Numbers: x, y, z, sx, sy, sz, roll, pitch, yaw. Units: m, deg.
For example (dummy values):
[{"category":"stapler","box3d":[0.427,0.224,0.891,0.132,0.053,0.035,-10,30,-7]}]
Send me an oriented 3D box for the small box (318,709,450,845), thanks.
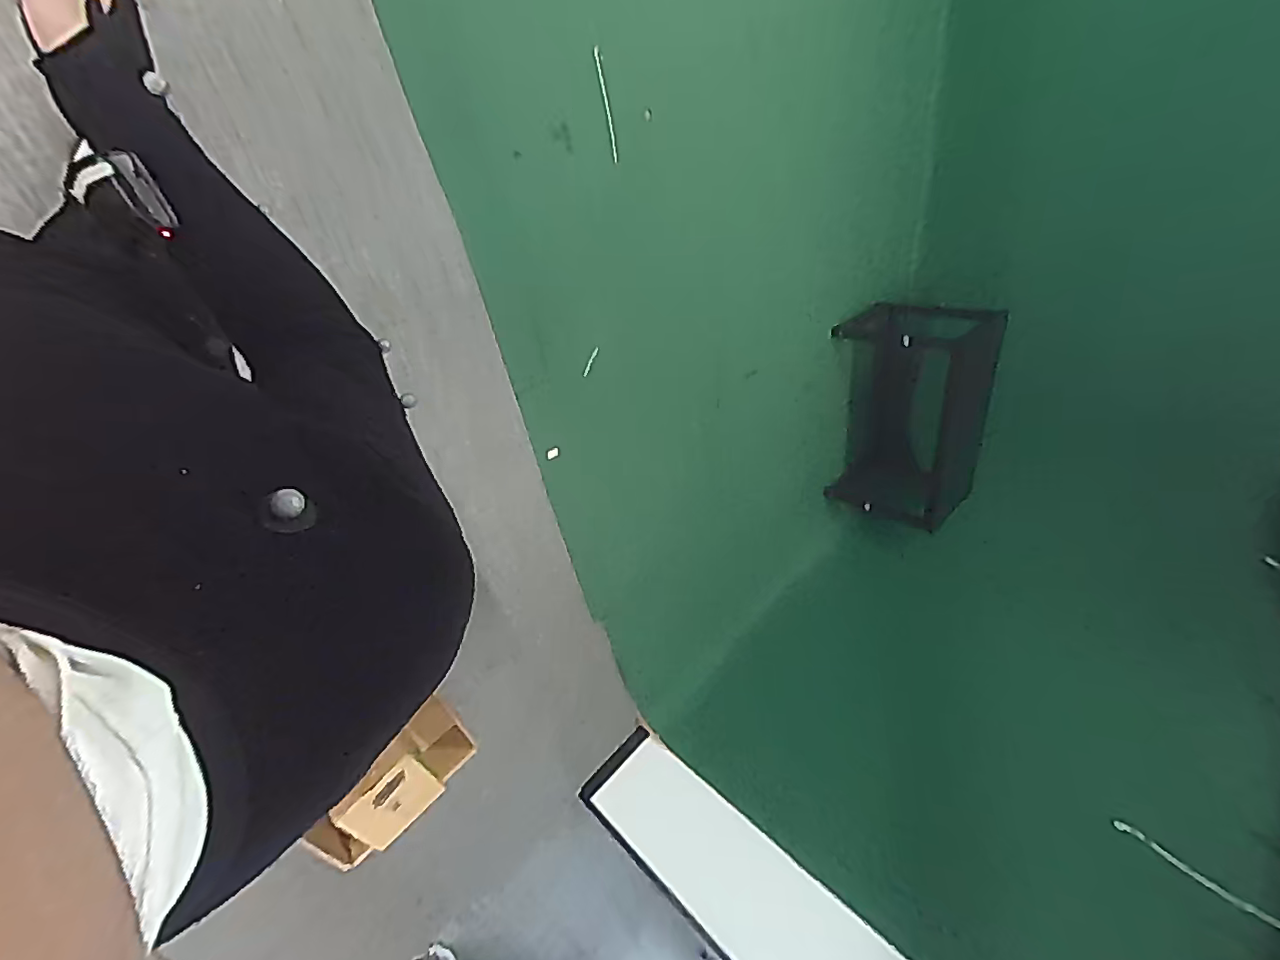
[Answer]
[{"category":"small box","box3d":[-0.555,0.633,1.171,0.168,0.176,0.179,-40,135,-26]}]
